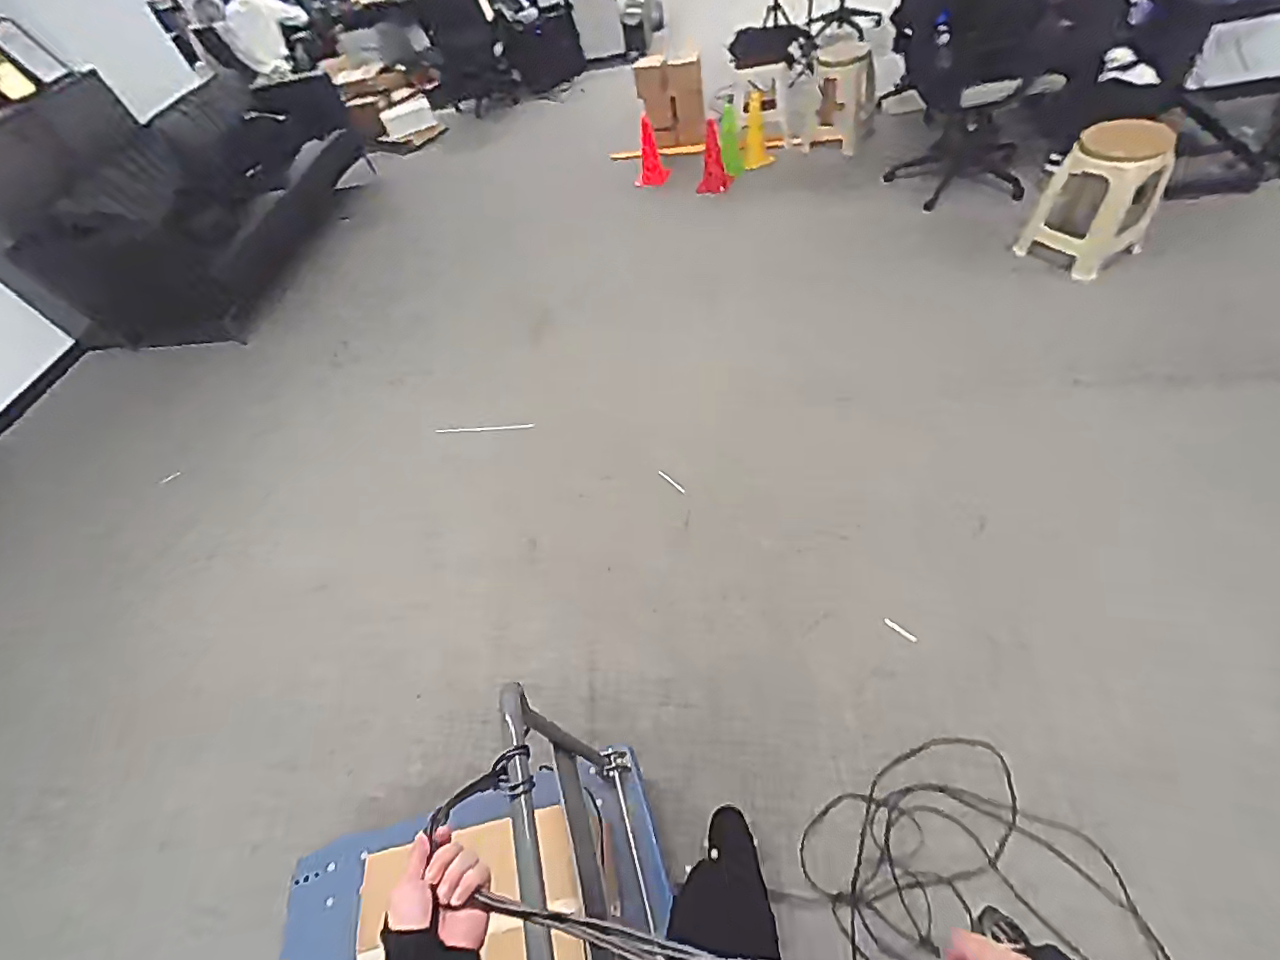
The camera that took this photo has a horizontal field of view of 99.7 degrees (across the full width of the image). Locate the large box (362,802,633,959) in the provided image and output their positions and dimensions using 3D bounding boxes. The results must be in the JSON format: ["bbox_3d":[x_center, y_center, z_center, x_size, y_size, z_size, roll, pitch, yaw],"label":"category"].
[{"bbox_3d":[-0.253,0.853,1.028,0.408,0.320,0.320,-16,51,2],"label":"large box"}]
